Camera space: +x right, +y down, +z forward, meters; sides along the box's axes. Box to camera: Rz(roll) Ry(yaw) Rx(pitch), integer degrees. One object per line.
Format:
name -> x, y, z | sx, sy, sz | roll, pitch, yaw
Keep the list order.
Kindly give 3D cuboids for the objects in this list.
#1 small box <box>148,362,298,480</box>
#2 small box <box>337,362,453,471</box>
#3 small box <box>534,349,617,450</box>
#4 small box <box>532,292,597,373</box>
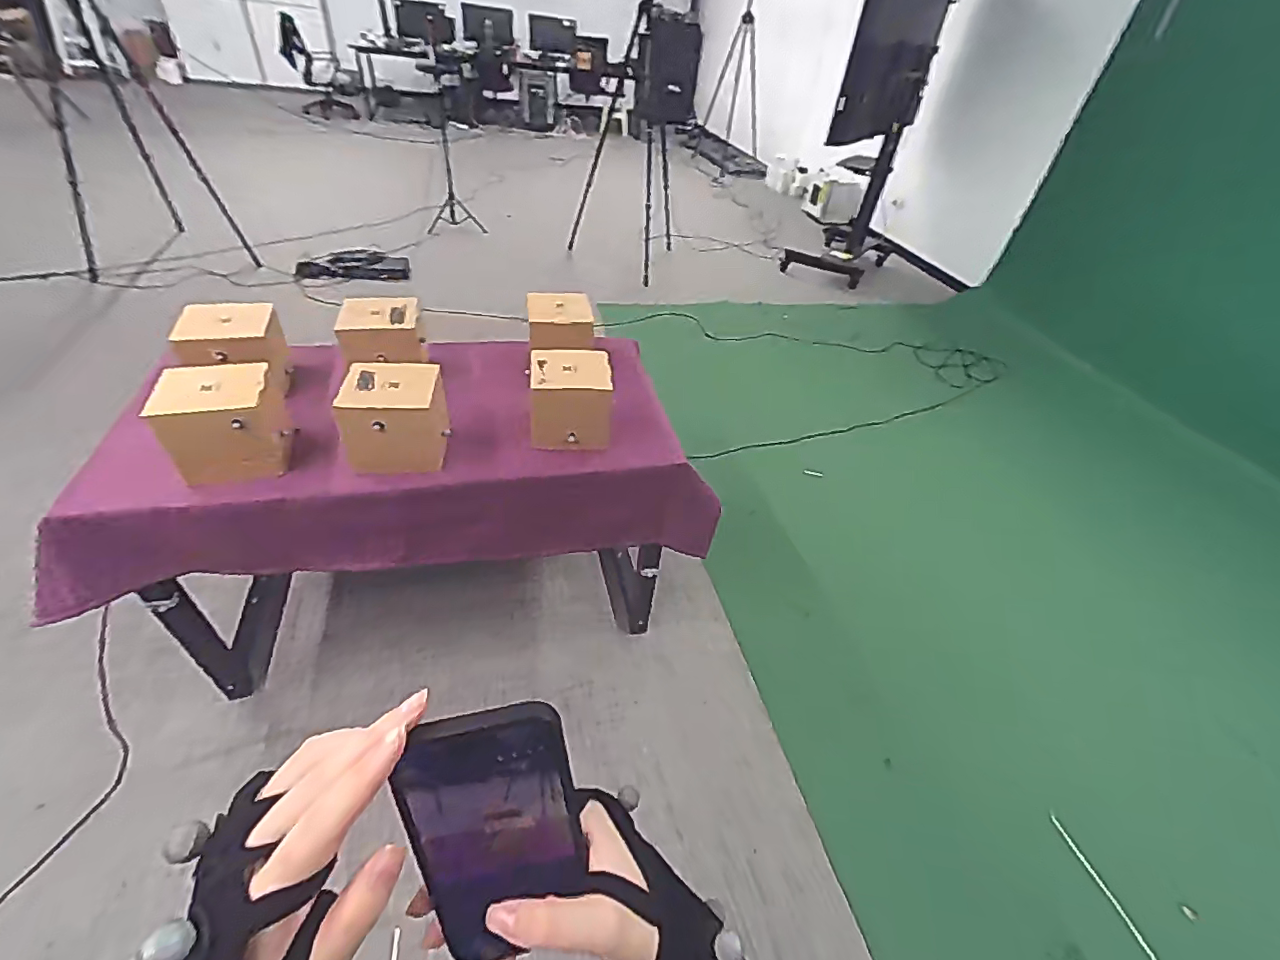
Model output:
small box -> -0.809, -0.115, 1.071 | 0.179, 0.176, 0.168 | -8, 44, -19
small box -> -0.503, -0.131, 1.138 | 0.179, 0.176, 0.168 | 0, 42, -10
small box -> -0.154, -0.183, 1.253 | 0.179, 0.176, 0.168 | 0, 42, -9
small box -> -0.212, -0.394, 1.478 | 0.168, 0.176, 0.179 | -3, 43, -11
